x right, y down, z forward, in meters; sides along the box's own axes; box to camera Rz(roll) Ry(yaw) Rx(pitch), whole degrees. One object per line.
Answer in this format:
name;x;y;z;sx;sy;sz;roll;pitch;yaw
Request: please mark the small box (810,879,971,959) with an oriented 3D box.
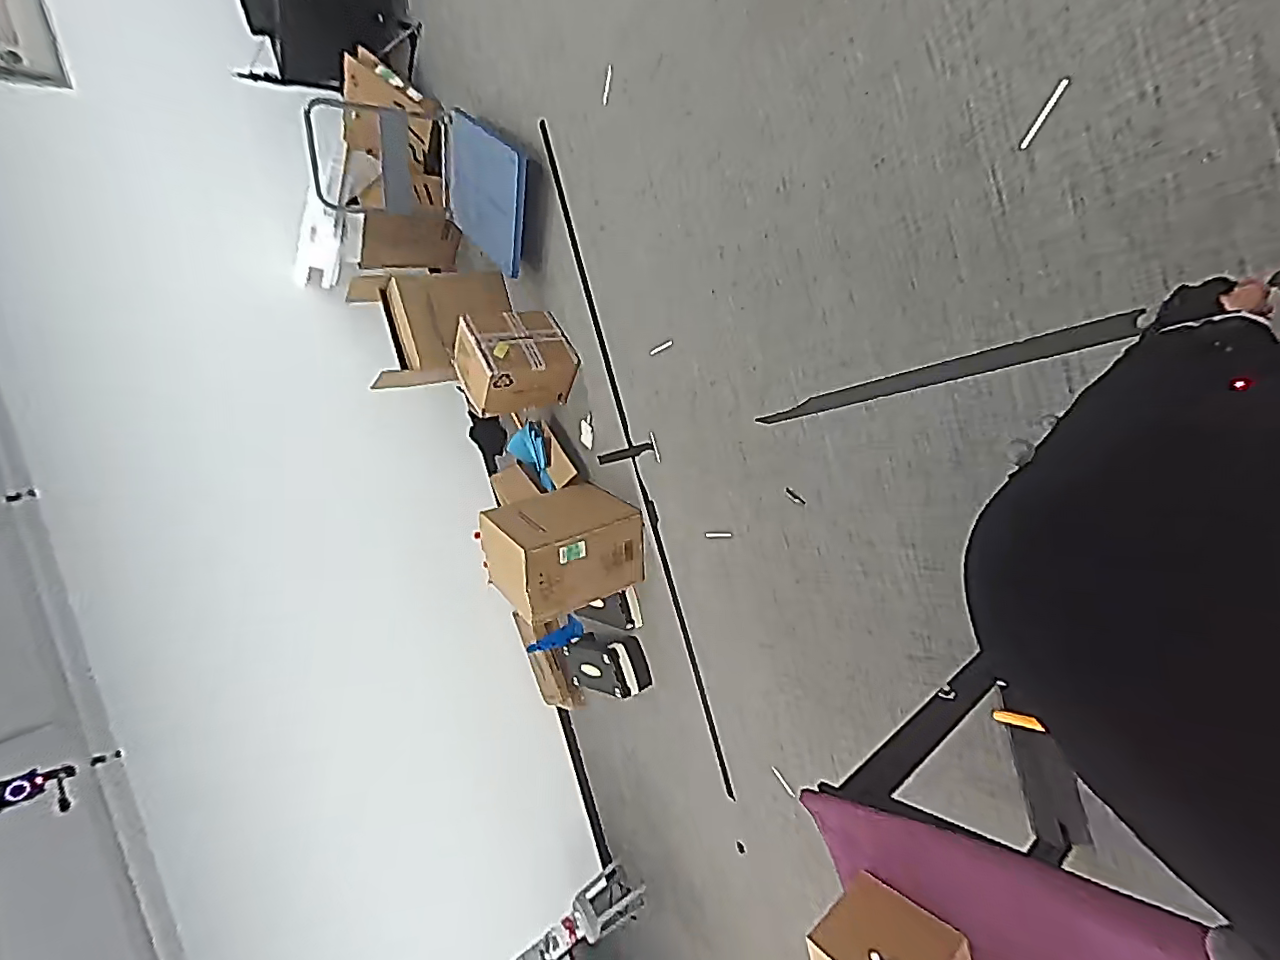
small box;0.404;0.787;0.850;0.179;0.176;0.168;-1;105;57
